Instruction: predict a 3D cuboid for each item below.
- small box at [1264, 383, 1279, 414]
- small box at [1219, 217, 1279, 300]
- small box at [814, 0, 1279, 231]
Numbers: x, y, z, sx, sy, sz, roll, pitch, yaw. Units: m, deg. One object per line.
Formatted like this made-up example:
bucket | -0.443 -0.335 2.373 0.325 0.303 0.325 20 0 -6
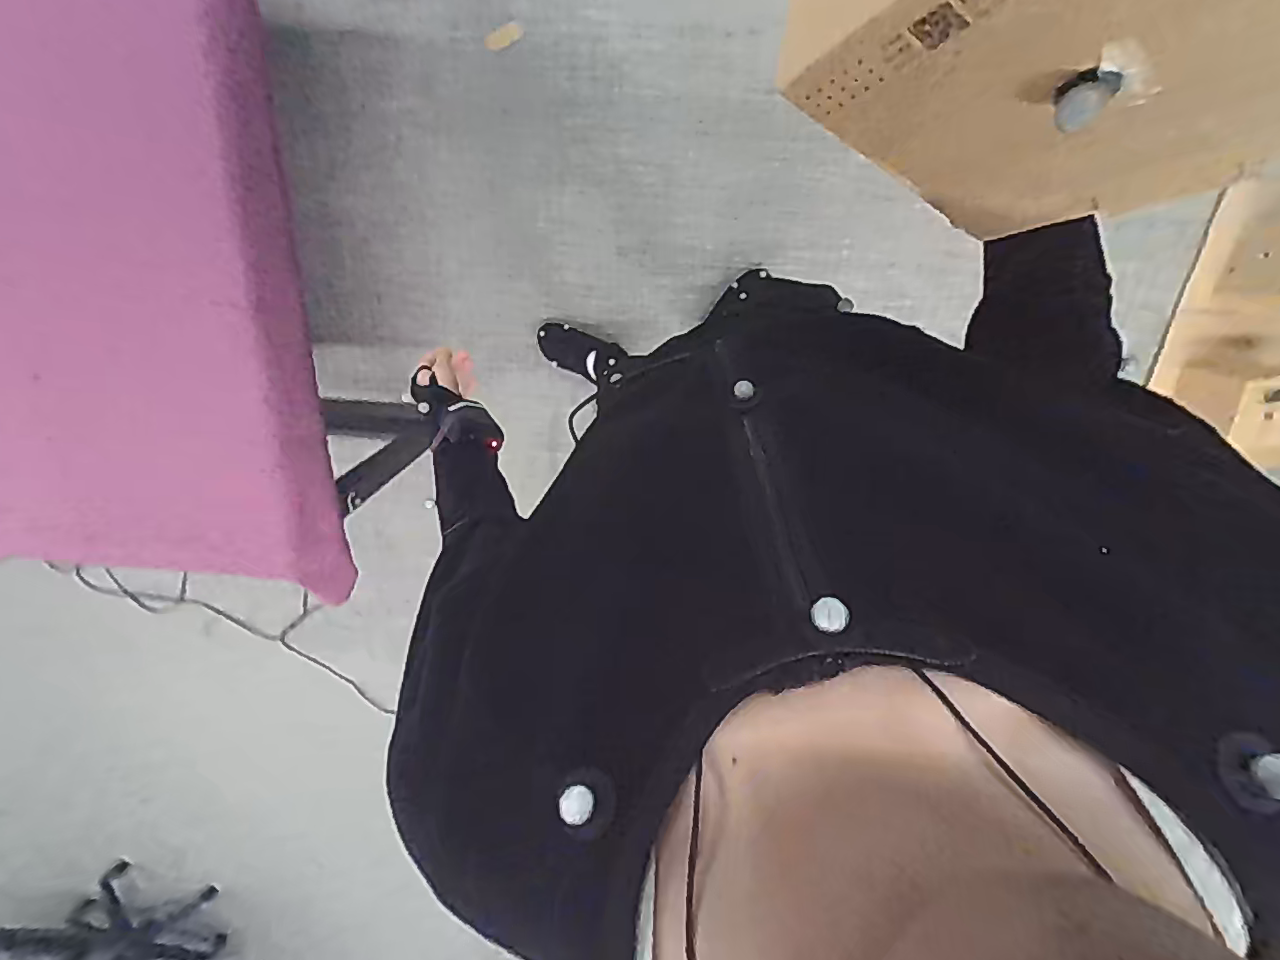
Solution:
small box | 1.748 -0.207 1.335 0.179 0.176 0.168 20 110 -7
small box | 1.505 -0.499 1.227 0.179 0.176 0.168 8 112 -2
small box | 0.188 -0.231 0.192 0.176 0.168 0.179 15 88 -31
